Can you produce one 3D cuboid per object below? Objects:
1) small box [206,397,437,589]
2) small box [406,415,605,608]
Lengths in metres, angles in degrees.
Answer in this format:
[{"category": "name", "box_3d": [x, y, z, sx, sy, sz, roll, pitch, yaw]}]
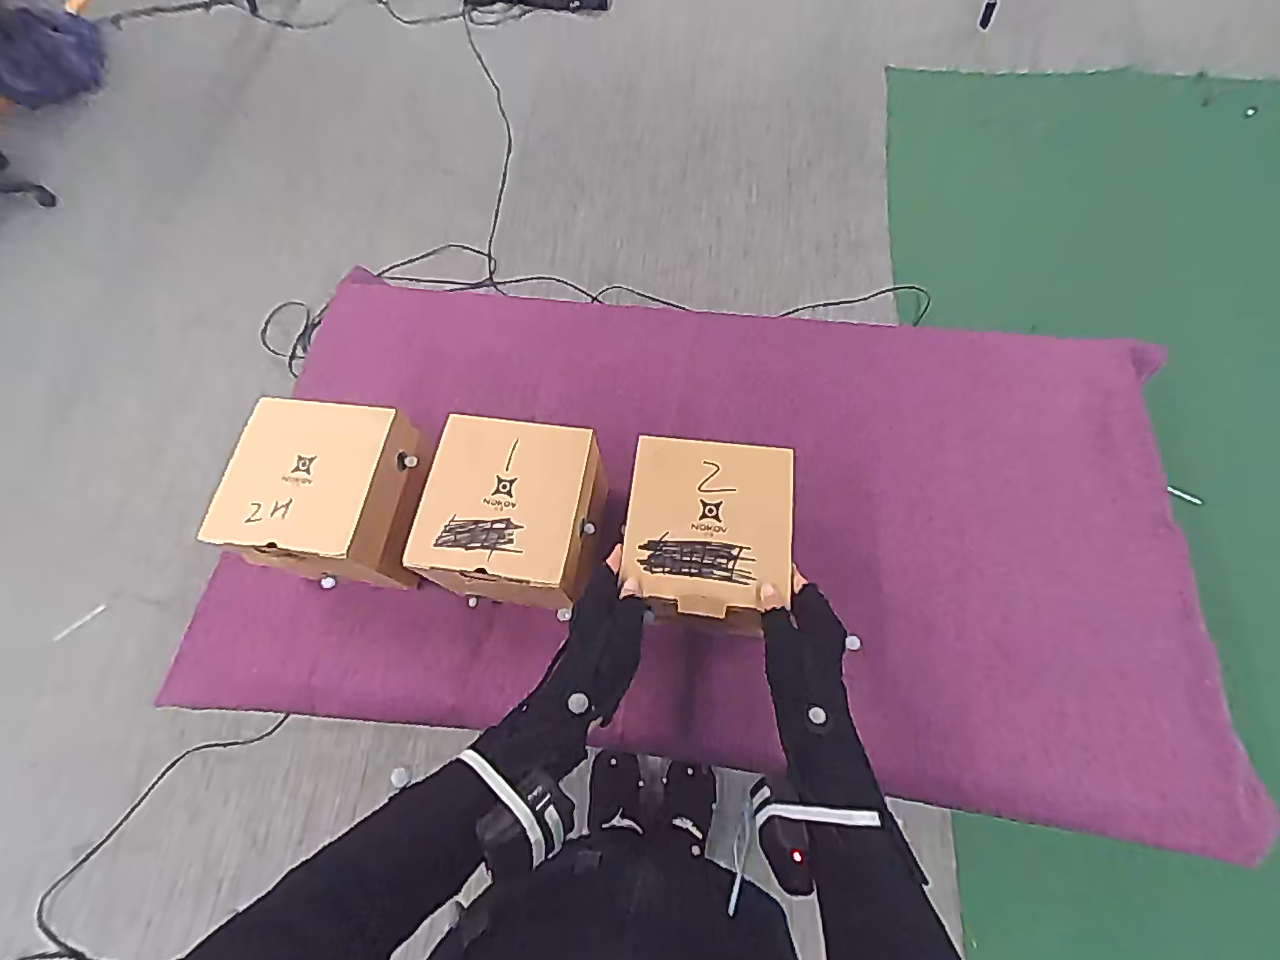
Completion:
[{"category": "small box", "box_3d": [-0.359, 0.022, 0.662, 0.168, 0.176, 0.179, 6, 68, 6]}, {"category": "small box", "box_3d": [-0.141, 0.046, 0.643, 0.168, 0.176, 0.179, 7, 67, 6]}]
